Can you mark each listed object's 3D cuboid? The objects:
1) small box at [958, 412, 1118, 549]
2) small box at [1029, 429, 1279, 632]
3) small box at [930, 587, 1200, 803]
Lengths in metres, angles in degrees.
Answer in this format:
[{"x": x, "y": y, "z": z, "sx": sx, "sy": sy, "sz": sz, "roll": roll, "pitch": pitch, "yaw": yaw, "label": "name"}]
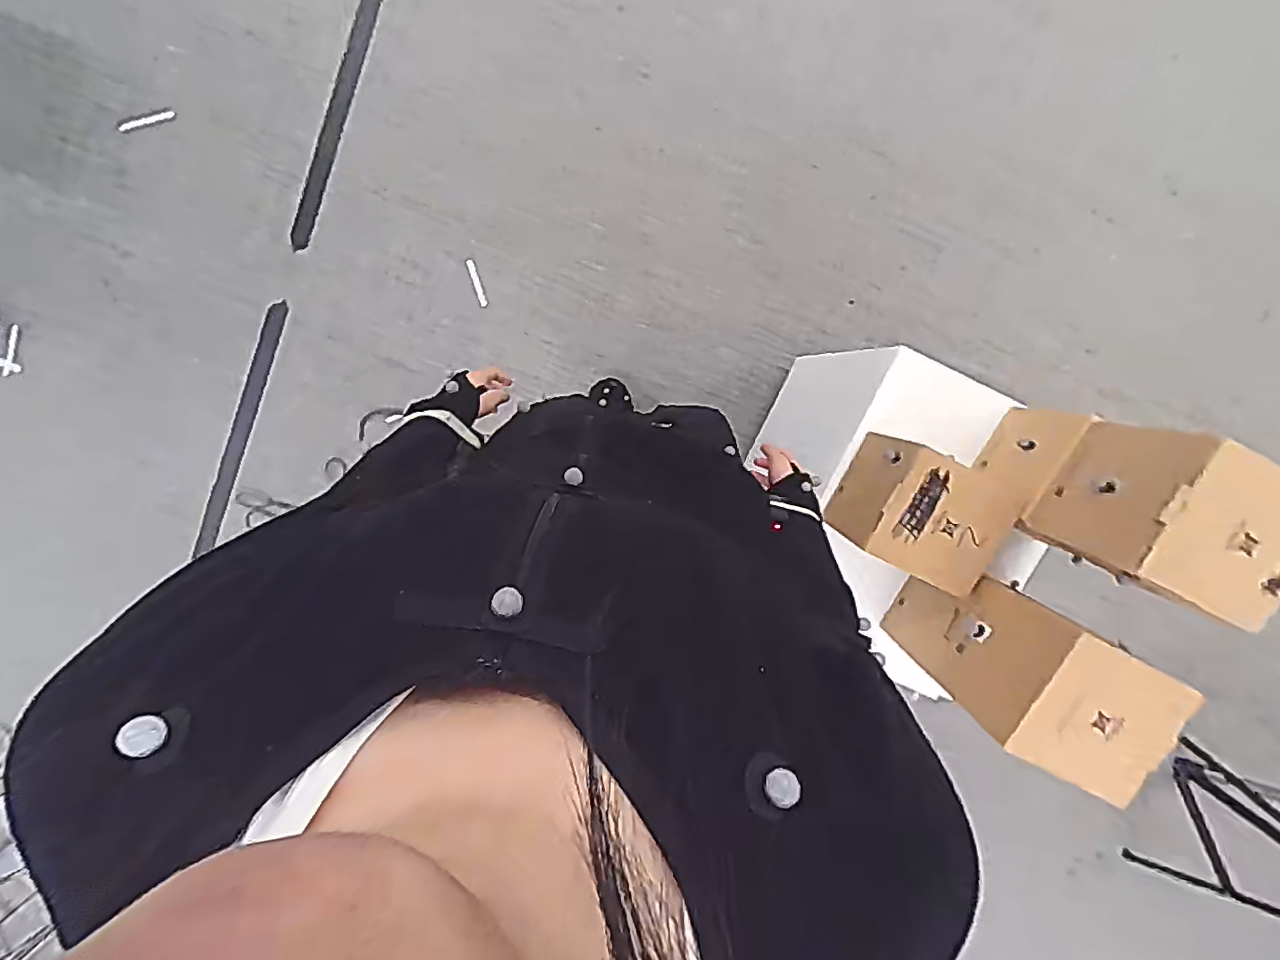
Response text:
[{"x": 0.634, "y": 0.006, "z": 0.819, "sx": 0.179, "sy": 0.176, "sz": 0.168, "roll": 28, "pitch": 100, "yaw": -6, "label": "small box"}, {"x": 0.638, "y": 0.048, "z": 0.660, "sx": 0.179, "sy": 0.176, "sz": 0.168, "roll": 28, "pitch": 99, "yaw": -6, "label": "small box"}, {"x": 0.528, "y": 0.262, "z": 0.701, "sx": 0.179, "sy": 0.176, "sz": 0.168, "roll": 27, "pitch": 98, "yaw": -4, "label": "small box"}]
